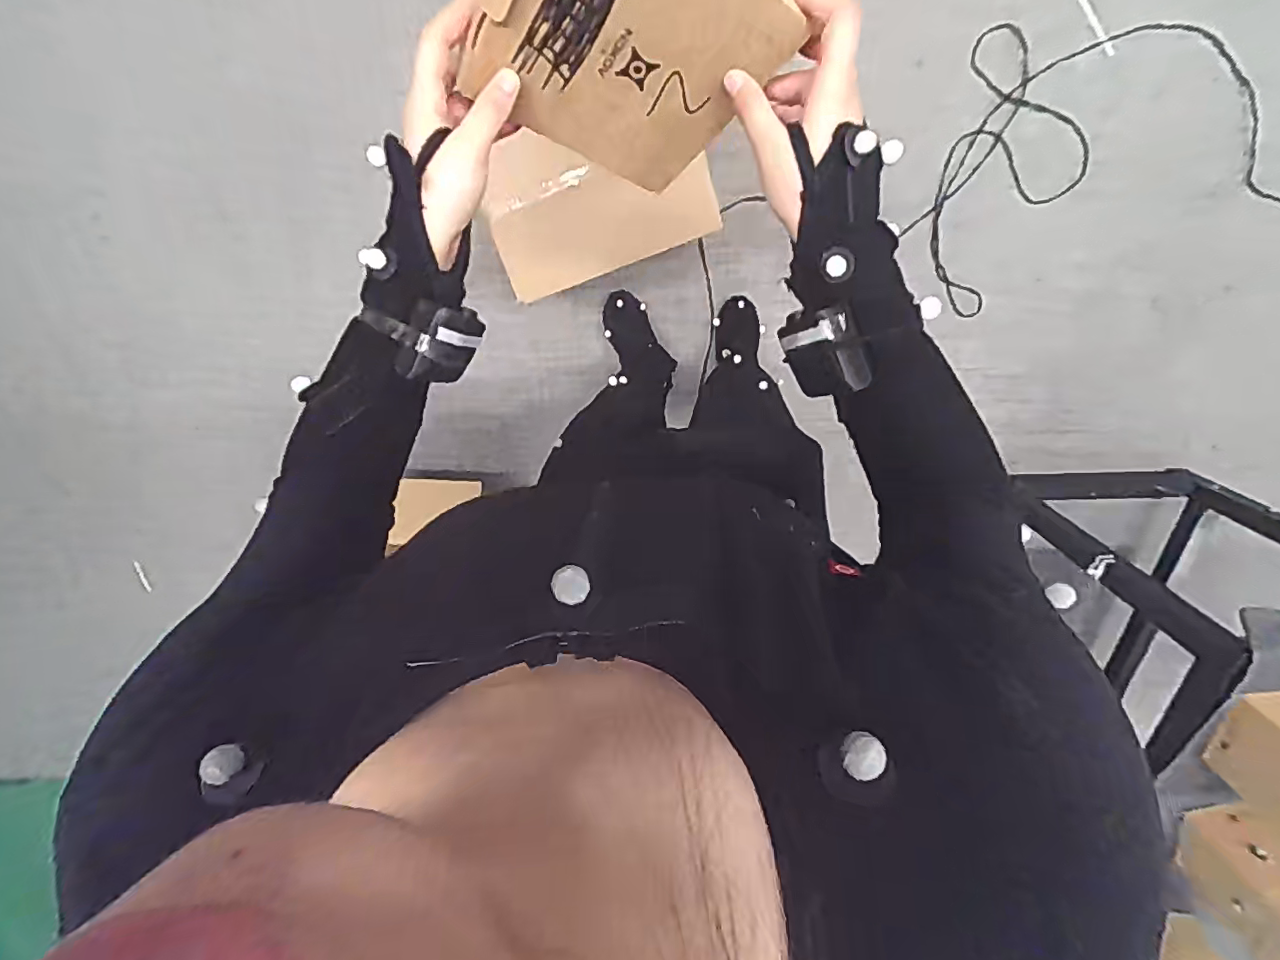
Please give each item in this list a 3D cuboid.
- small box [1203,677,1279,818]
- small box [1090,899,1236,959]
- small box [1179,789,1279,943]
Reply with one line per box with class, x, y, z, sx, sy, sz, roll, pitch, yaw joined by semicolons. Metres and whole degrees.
small box;1.084;0.430;0.860;0.179;0.176;0.168;-6;116;2
small box;1.134;1.031;1.150;0.179;0.176;0.168;13;114;-7
small box;1.152;0.695;0.991;0.168;0.176;0.179;-16;116;7
